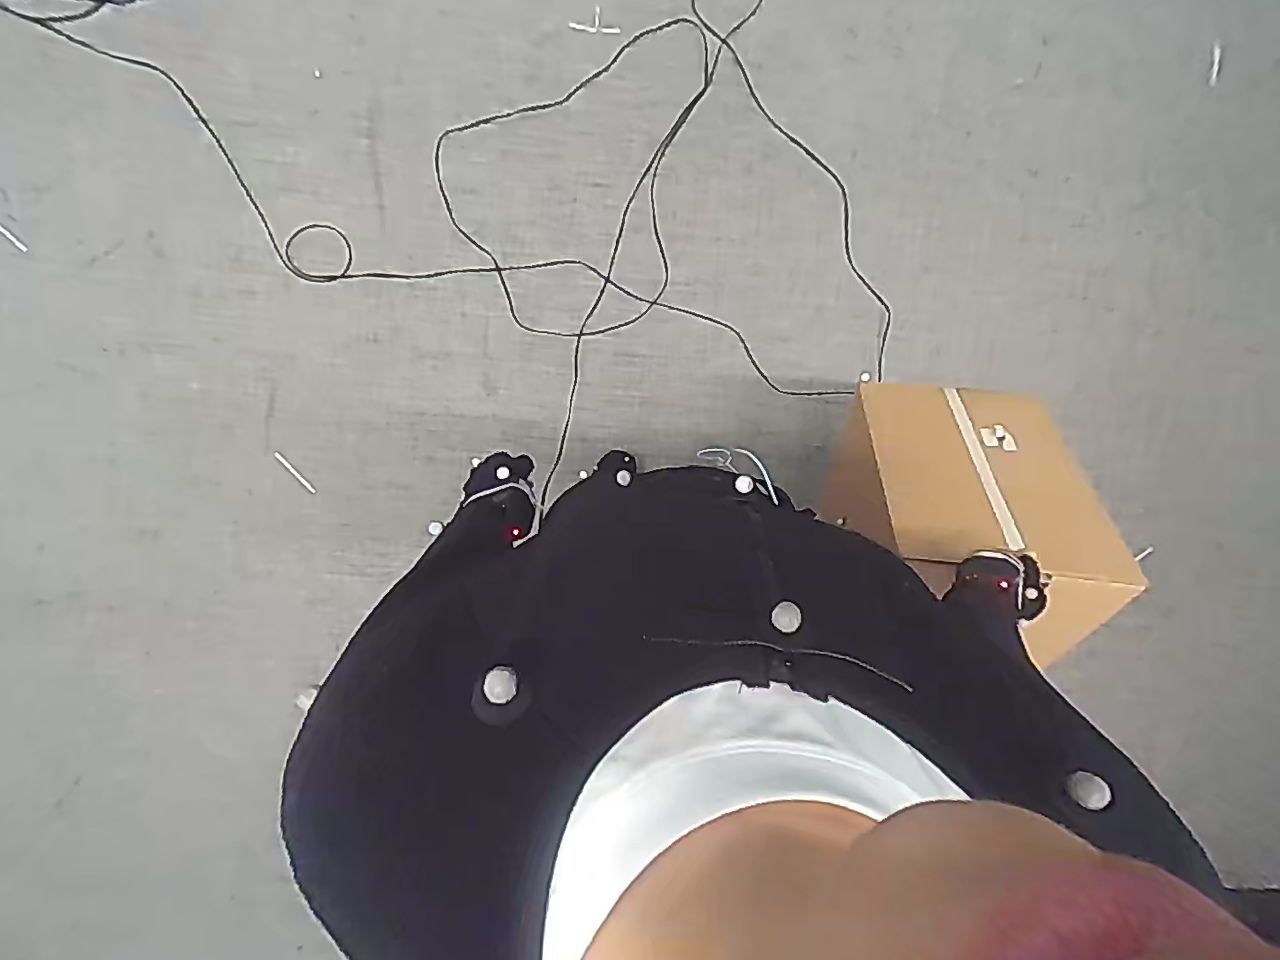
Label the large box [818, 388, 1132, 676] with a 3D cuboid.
[{"bbox_3d":[0.525,0.085,0.967,0.320,0.408,0.320,6,135,5],"label":"large box"}]
